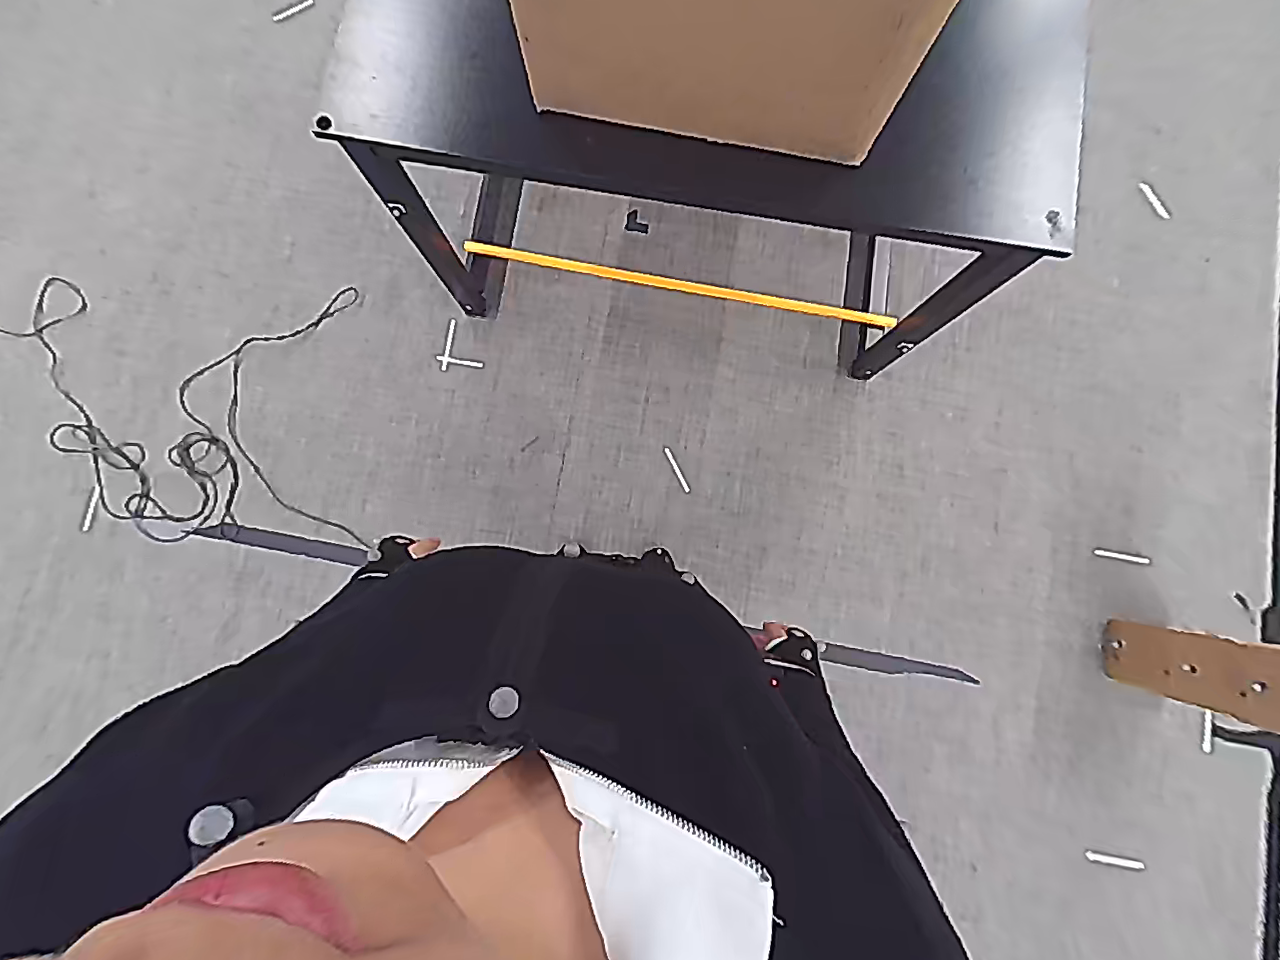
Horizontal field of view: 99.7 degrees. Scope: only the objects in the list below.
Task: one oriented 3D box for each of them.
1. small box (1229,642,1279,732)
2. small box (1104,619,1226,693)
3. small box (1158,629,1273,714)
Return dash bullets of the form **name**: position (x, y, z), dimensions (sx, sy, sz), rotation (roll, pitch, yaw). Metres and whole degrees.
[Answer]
- **small box**: position (1.355, 0.424, 1.081), dimensions (0.179, 0.176, 0.168), rotation (4, 82, 0)
- **small box**: position (1.370, 0.463, 1.408), dimensions (0.179, 0.176, 0.168), rotation (8, 82, 1)
- **small box**: position (1.354, 0.445, 1.245), dimensions (0.179, 0.176, 0.168), rotation (9, 83, 1)
